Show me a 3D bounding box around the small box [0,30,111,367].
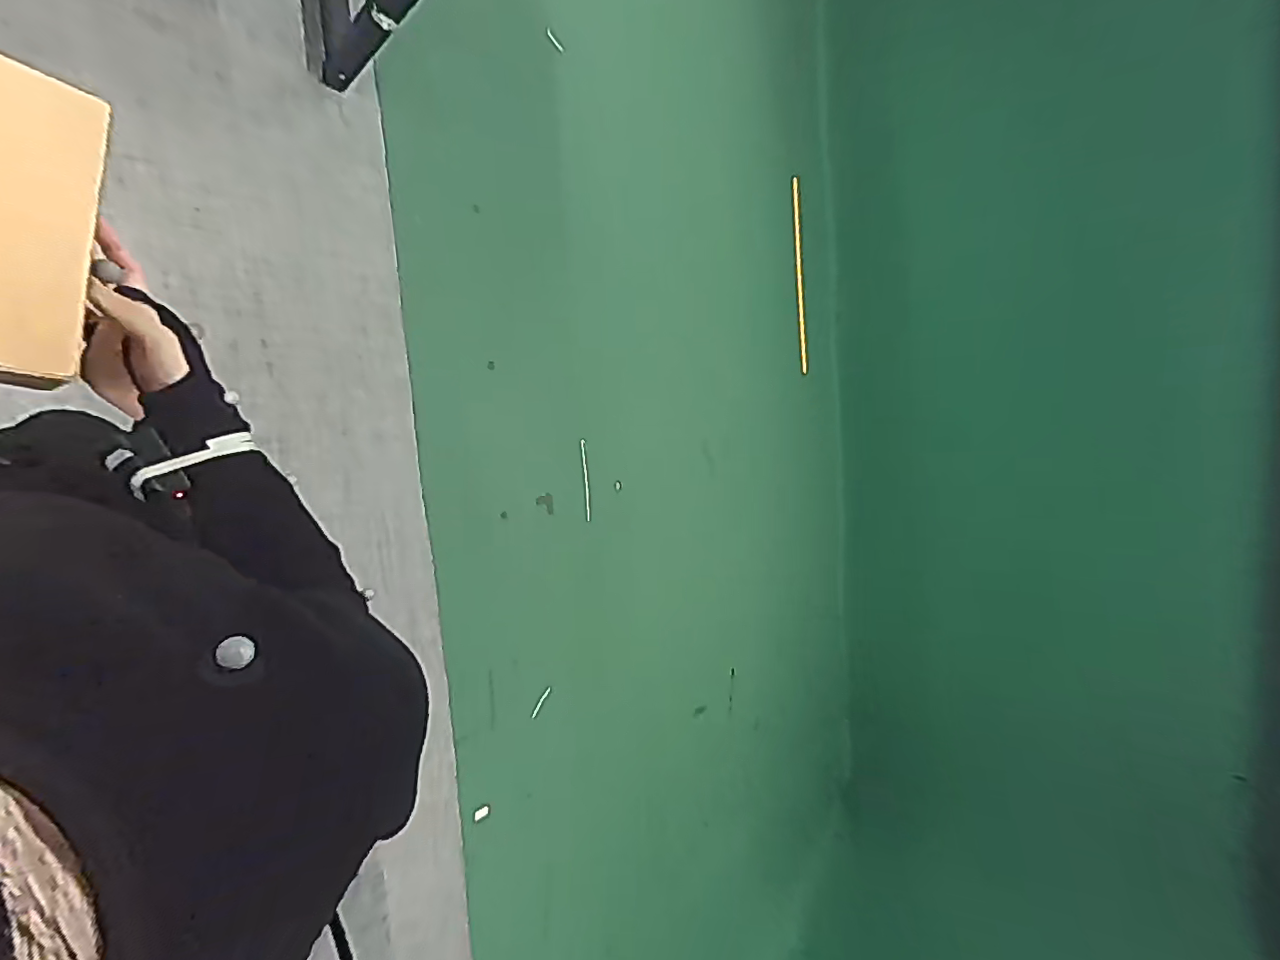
[{"bbox_3d":[-0.447,-0.171,0.314,0.168,0.176,0.179,8,90,-52],"label":"small box"}]
